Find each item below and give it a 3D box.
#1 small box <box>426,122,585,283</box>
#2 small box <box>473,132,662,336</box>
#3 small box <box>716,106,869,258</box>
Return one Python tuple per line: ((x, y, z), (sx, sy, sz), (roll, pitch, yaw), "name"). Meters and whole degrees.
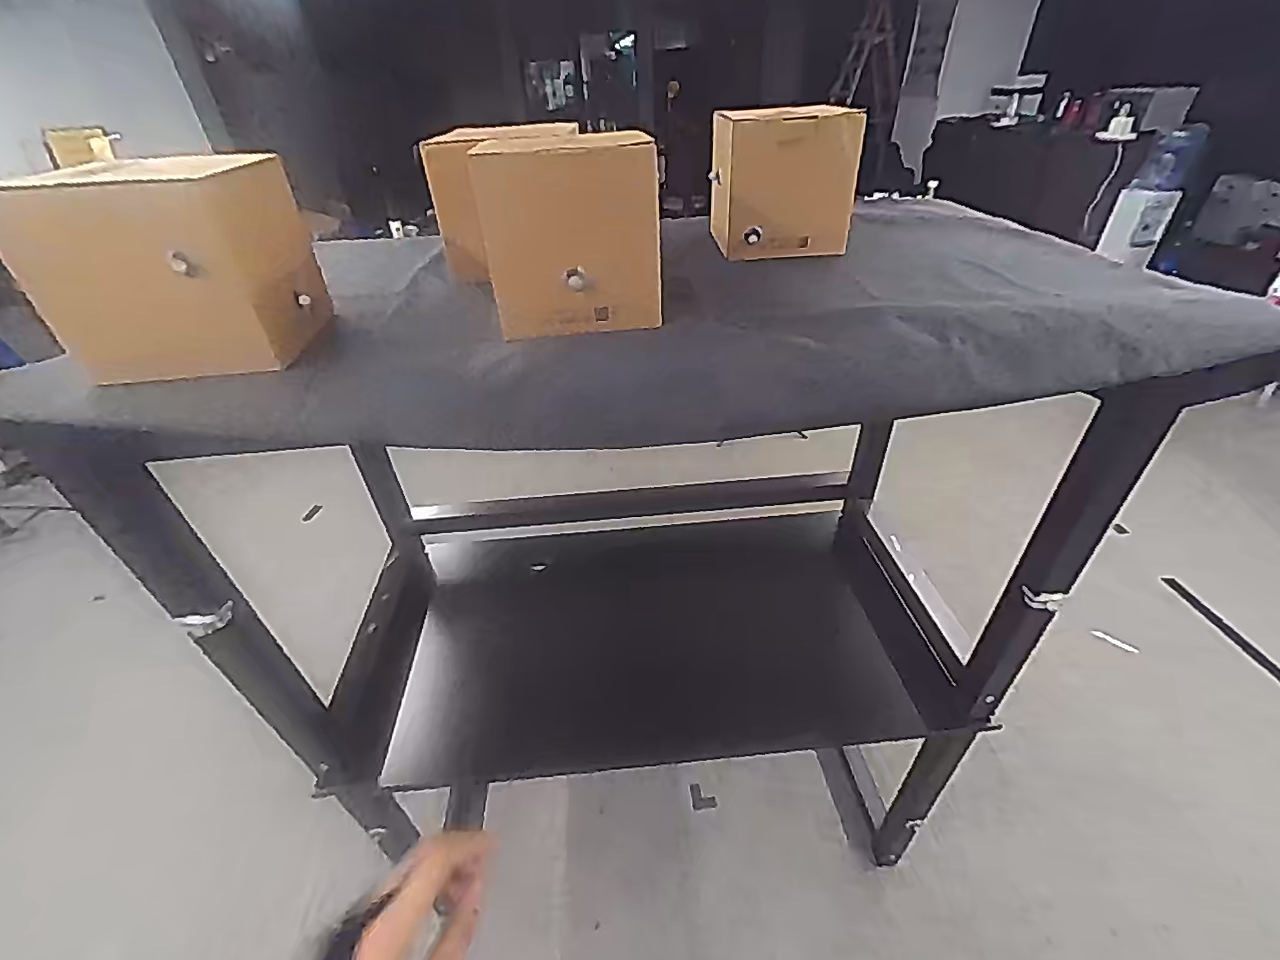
((-0.162, -0.382, 0.745), (0.179, 0.176, 0.168), (-2, 37, 2), "small box")
((-0.067, -0.266, 0.580), (0.168, 0.176, 0.179), (-5, 36, -3), "small box")
((0.202, -0.421, 0.769), (0.168, 0.176, 0.179), (-3, 36, 1), "small box")
